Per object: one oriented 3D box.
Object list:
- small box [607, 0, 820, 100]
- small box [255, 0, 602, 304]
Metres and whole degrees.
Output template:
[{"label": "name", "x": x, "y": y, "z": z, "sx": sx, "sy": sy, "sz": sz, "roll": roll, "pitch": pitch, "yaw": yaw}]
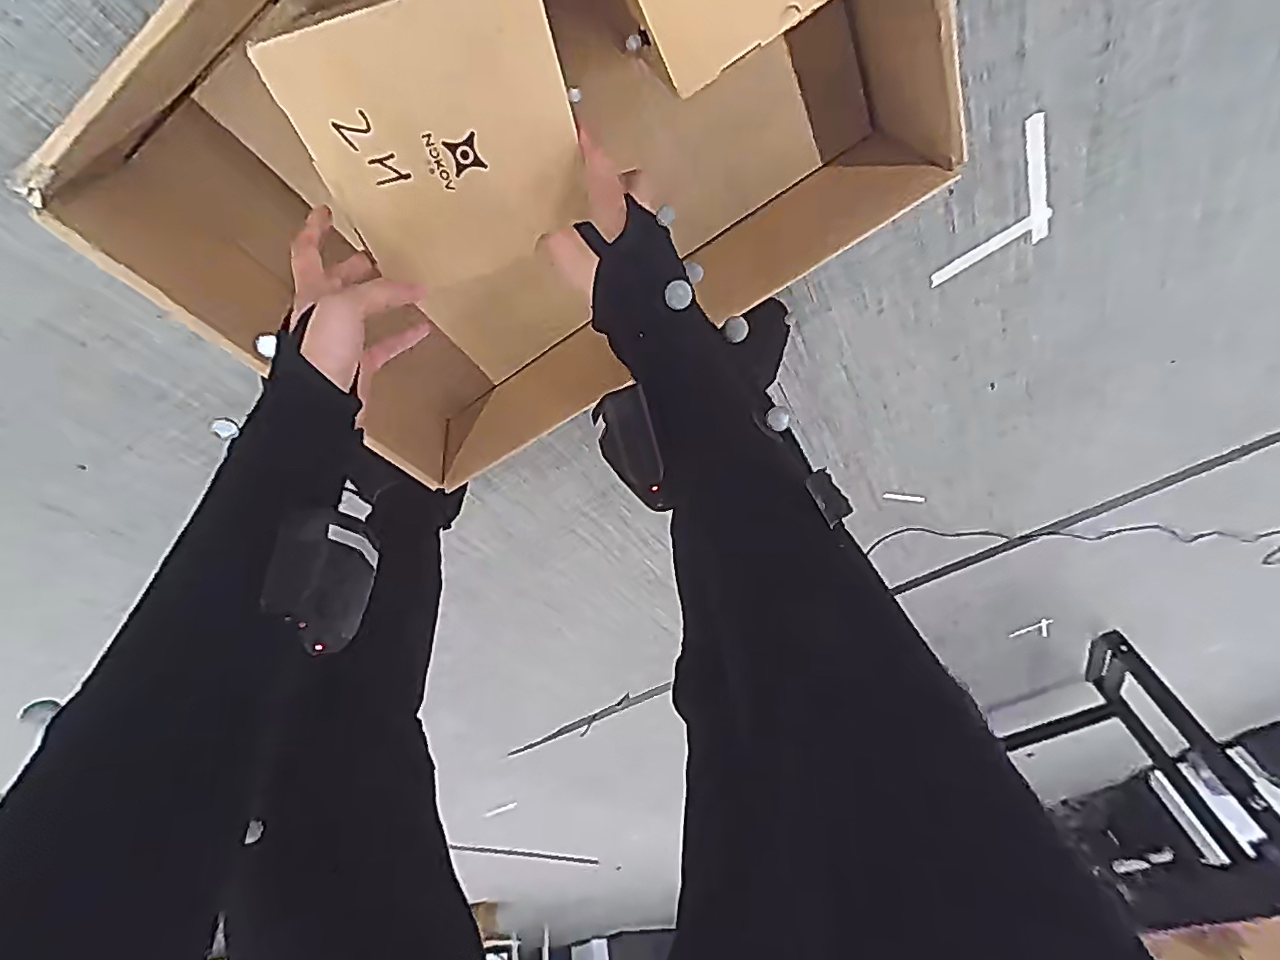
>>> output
[{"label": "small box", "x": 0.036, "y": -0.399, "z": 0.347, "sx": 0.168, "sy": 0.176, "sz": 0.179, "roll": -28, "pitch": 137, "yaw": 15}, {"label": "small box", "x": -0.146, "y": -0.274, "z": 0.425, "sx": 0.179, "sy": 0.176, "sz": 0.168, "roll": -18, "pitch": 137, "yaw": 1}]
